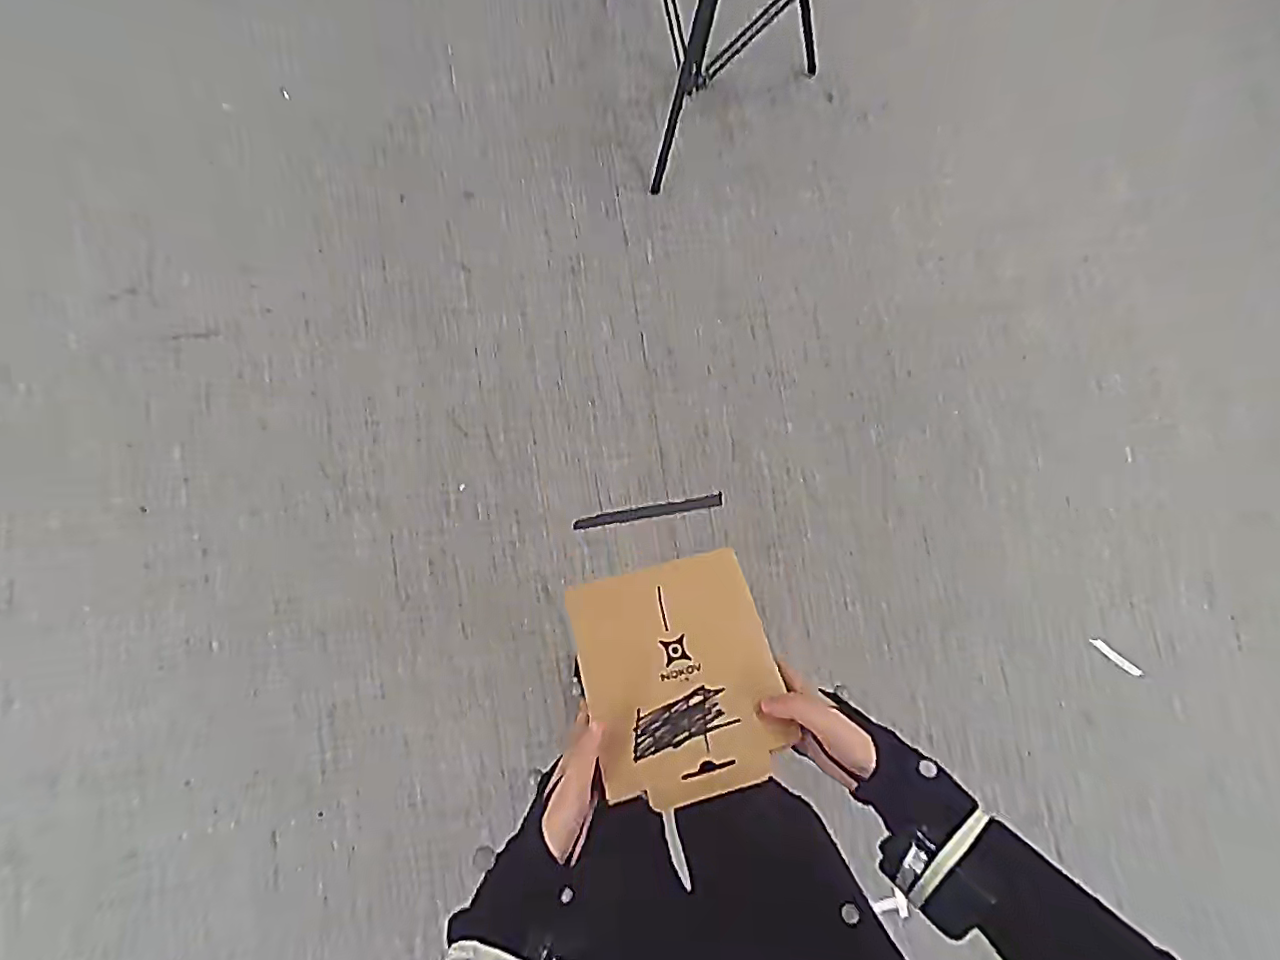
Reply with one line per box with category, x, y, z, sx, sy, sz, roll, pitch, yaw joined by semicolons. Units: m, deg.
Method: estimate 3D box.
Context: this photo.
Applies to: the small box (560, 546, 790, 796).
small box;0.026;0.190;0.539;0.168;0.176;0.179;-13;64;-8
